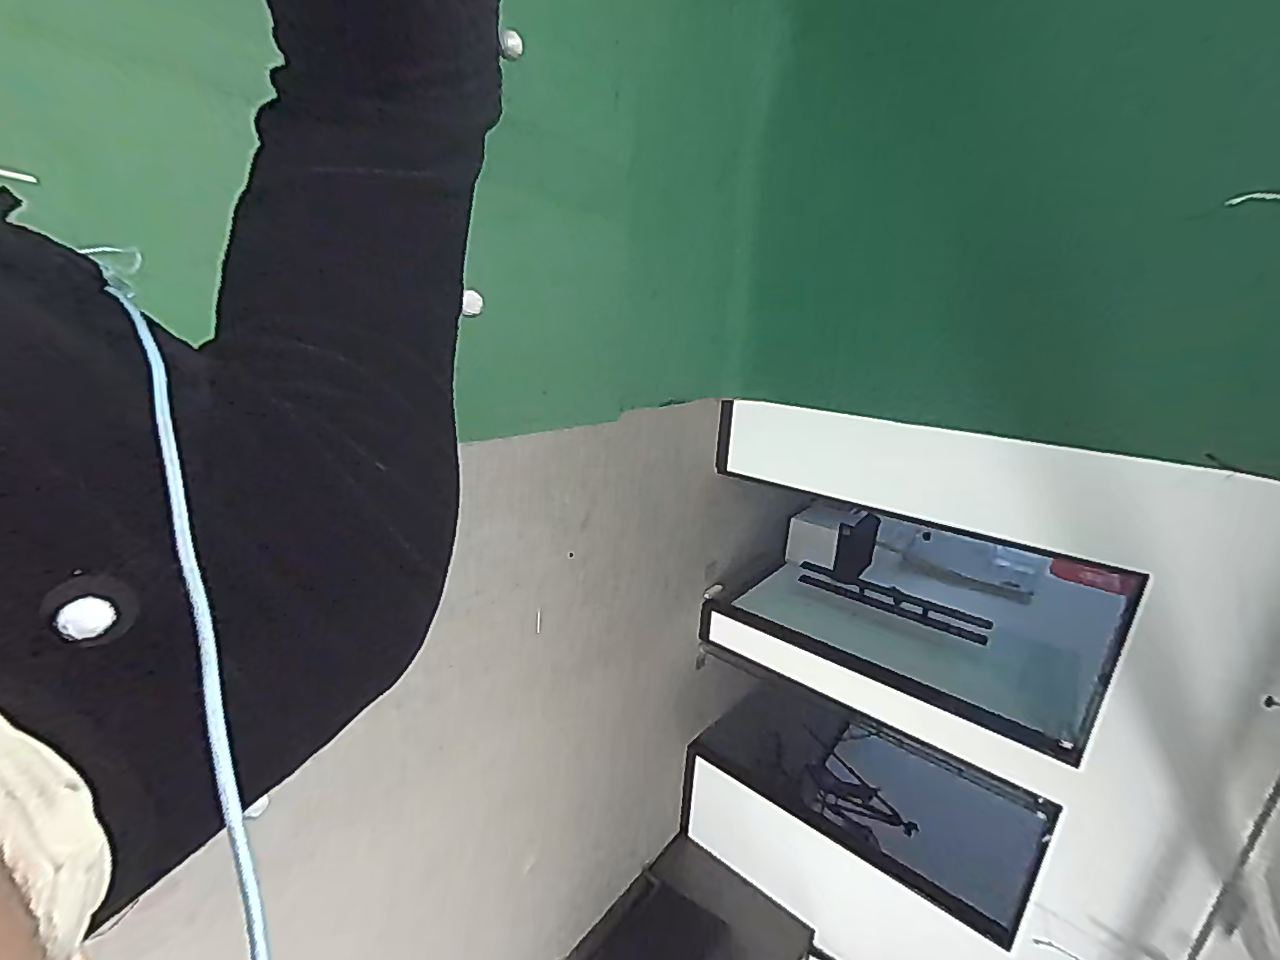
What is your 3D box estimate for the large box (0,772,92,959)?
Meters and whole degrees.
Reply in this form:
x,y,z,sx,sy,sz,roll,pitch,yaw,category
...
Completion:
x,y,z,sx,sy,sz,roll,pitch,yaw,category
-1.412,0.884,1.057,0.408,0.320,0.320,-18,117,-49,large box
